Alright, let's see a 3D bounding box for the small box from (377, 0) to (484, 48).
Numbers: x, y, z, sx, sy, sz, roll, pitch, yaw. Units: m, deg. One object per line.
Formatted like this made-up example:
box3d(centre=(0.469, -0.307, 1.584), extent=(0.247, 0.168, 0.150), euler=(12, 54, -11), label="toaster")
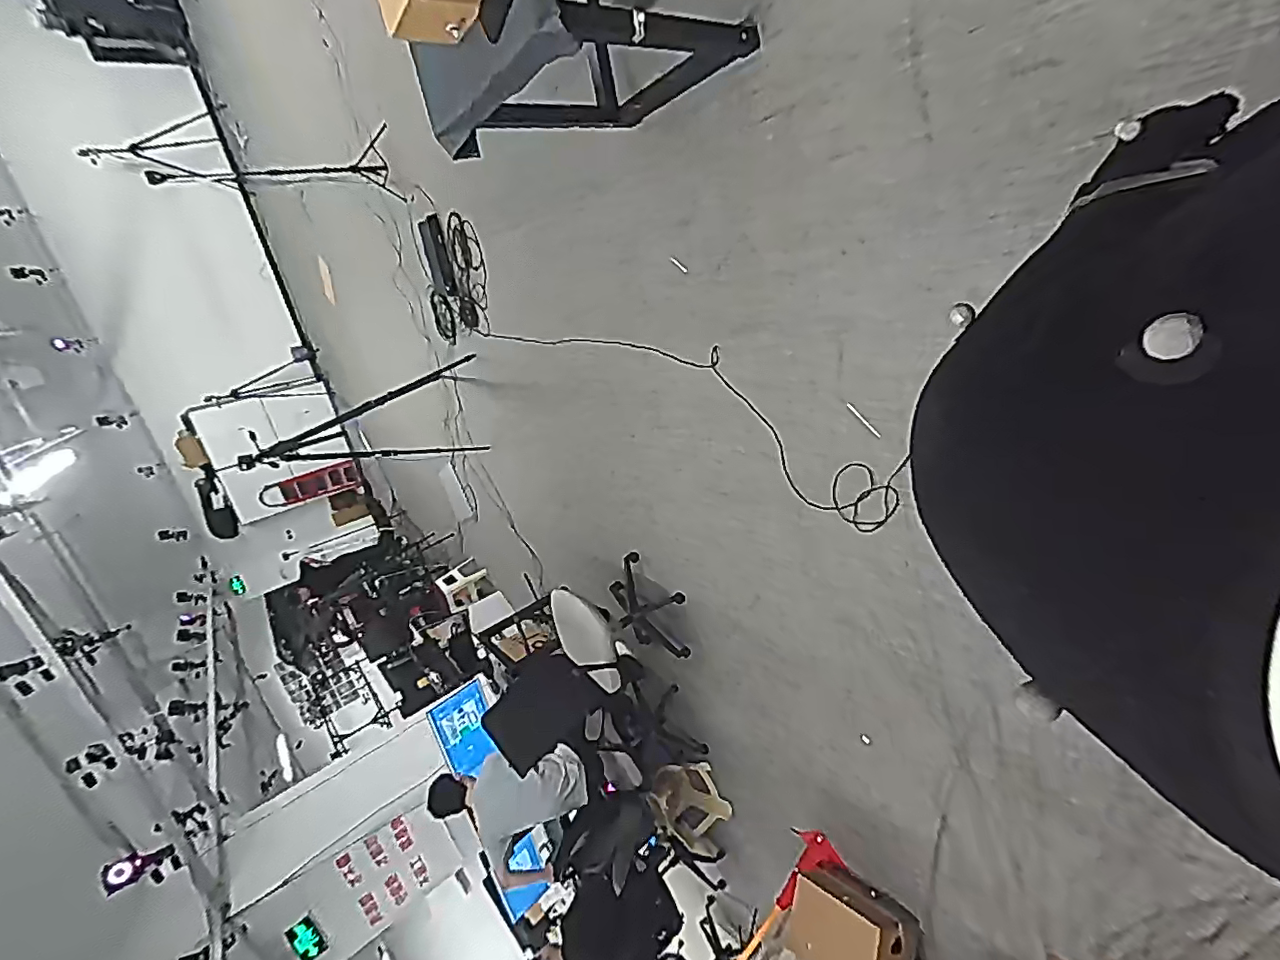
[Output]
box3d(centre=(-0.462, -1.070, 1.162), extent=(0.168, 0.176, 0.179), euler=(10, 120, 52), label="small box")
